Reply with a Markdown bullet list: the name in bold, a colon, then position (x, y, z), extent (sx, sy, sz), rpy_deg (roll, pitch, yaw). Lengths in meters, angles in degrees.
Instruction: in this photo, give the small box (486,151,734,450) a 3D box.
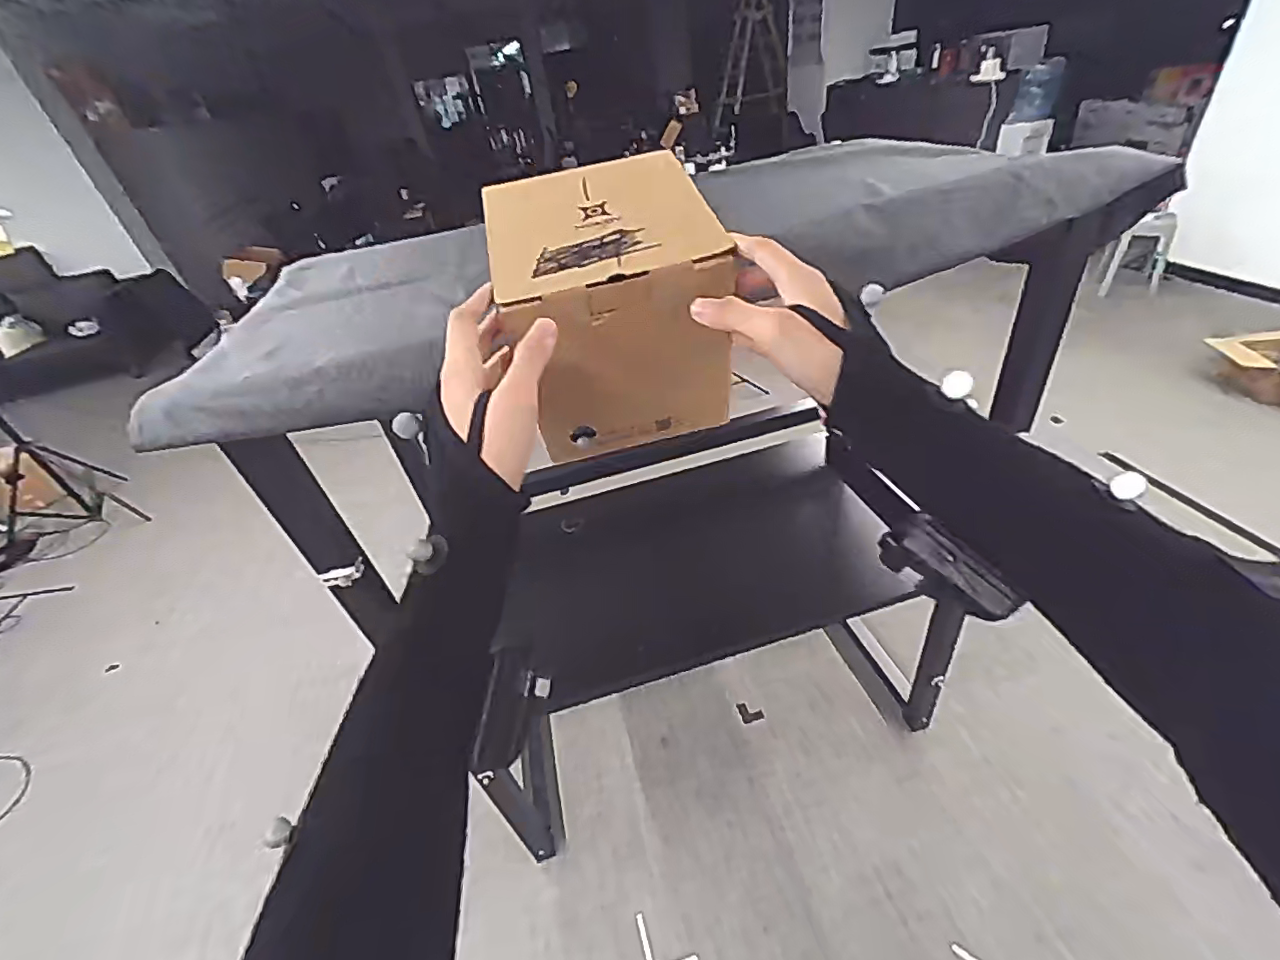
- **small box**: position (-0.022, -0.143, 0.464), extent (0.168, 0.176, 0.179), rpy_deg (-13, 53, -3)
